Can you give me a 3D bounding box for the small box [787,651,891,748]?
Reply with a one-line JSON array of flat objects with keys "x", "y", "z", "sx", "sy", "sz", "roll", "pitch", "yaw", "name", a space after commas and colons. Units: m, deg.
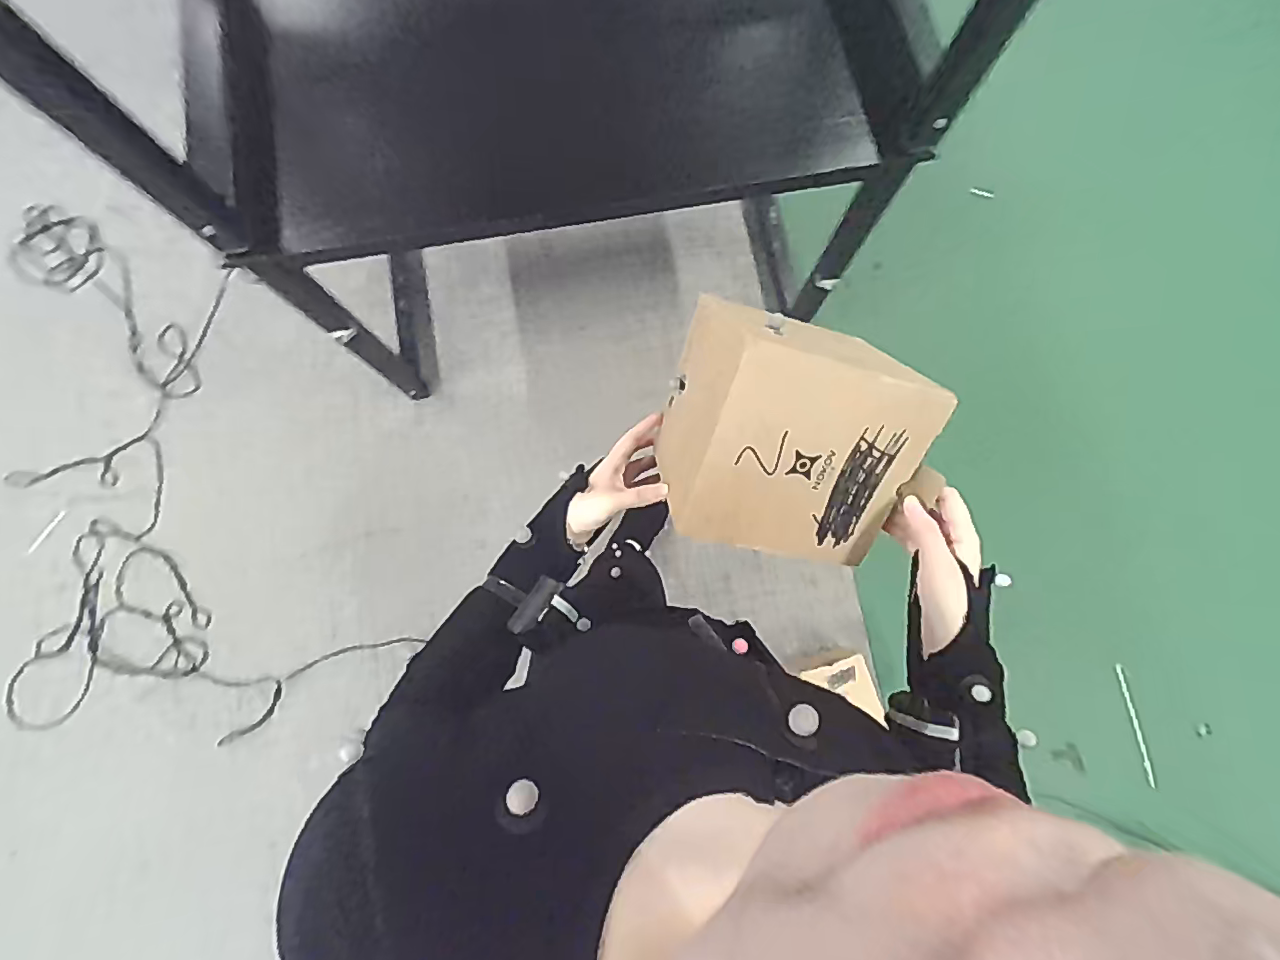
[{"x": 0.489, "y": 0.540, "z": 1.360, "sx": 0.168, "sy": 0.176, "sz": 0.179, "roll": -16, "pitch": 81, "yaw": -2, "name": "small box"}]
